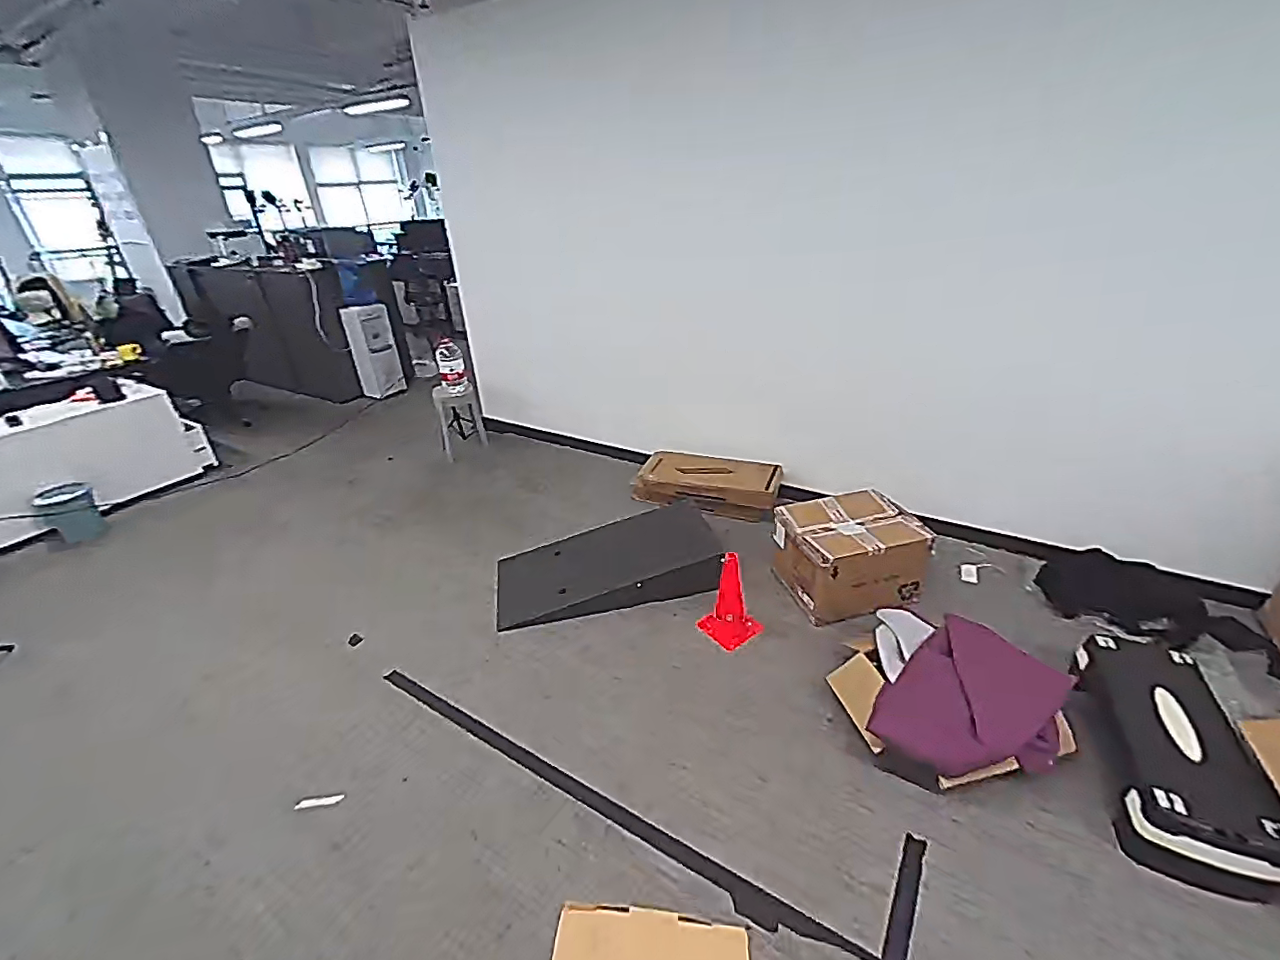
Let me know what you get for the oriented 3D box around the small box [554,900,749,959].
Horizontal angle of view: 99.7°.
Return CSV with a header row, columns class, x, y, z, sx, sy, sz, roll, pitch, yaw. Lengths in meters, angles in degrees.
class,x,y,z,sx,sy,sz,roll,pitch,yaw
small box,0.000,0.491,0.439,0.168,0.176,0.179,5,29,2
